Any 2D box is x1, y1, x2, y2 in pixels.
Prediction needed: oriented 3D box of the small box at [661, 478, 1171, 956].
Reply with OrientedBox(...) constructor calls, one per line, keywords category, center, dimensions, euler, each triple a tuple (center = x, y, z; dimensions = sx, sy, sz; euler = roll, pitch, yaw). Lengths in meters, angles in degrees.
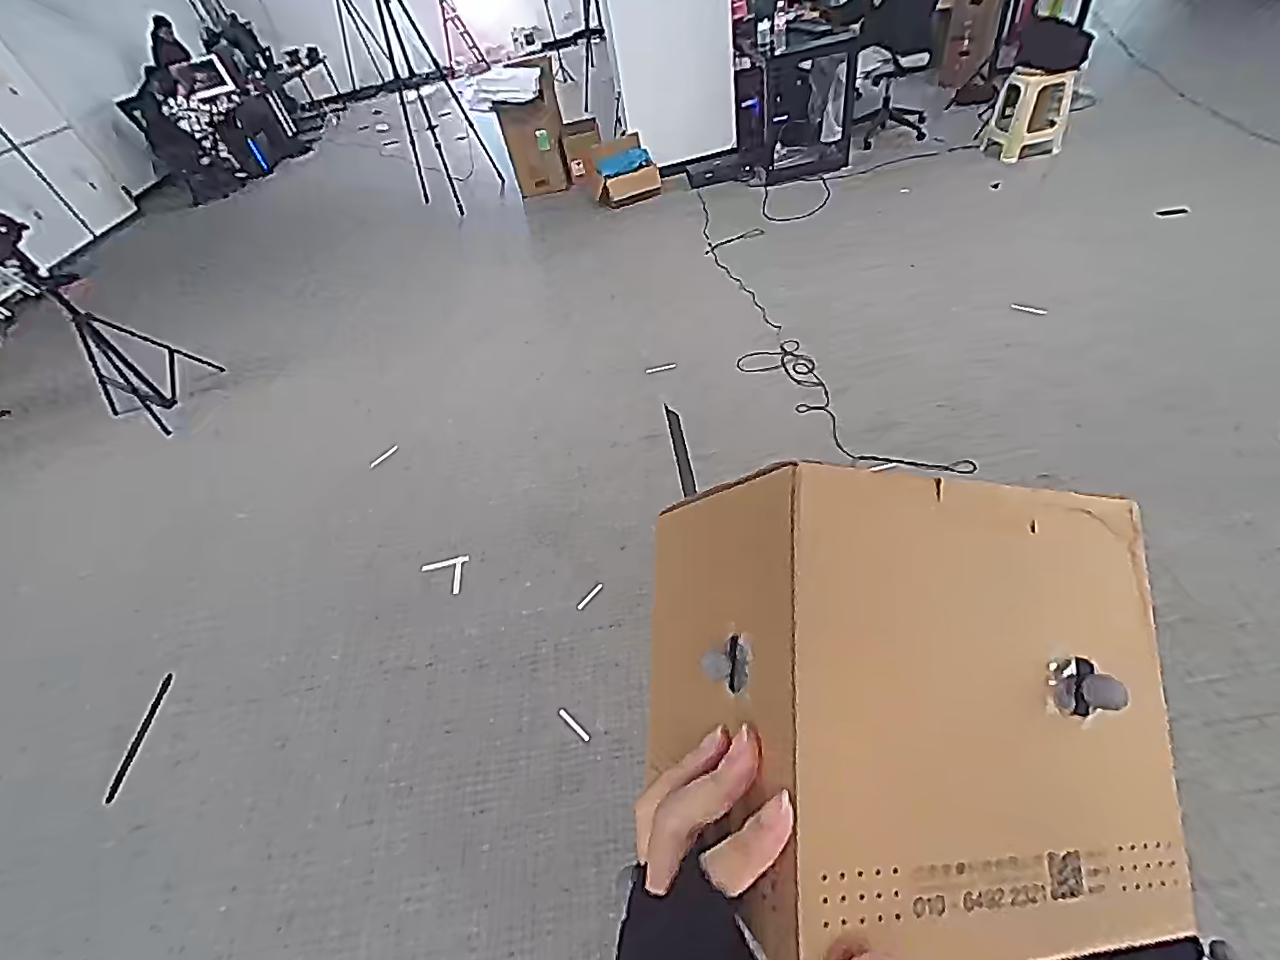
OrientedBox(category="small box", center=(0.112, 0.100, 0.278), dimensions=(0.168, 0.179, 0.176), euler=(6, 78, -13))
